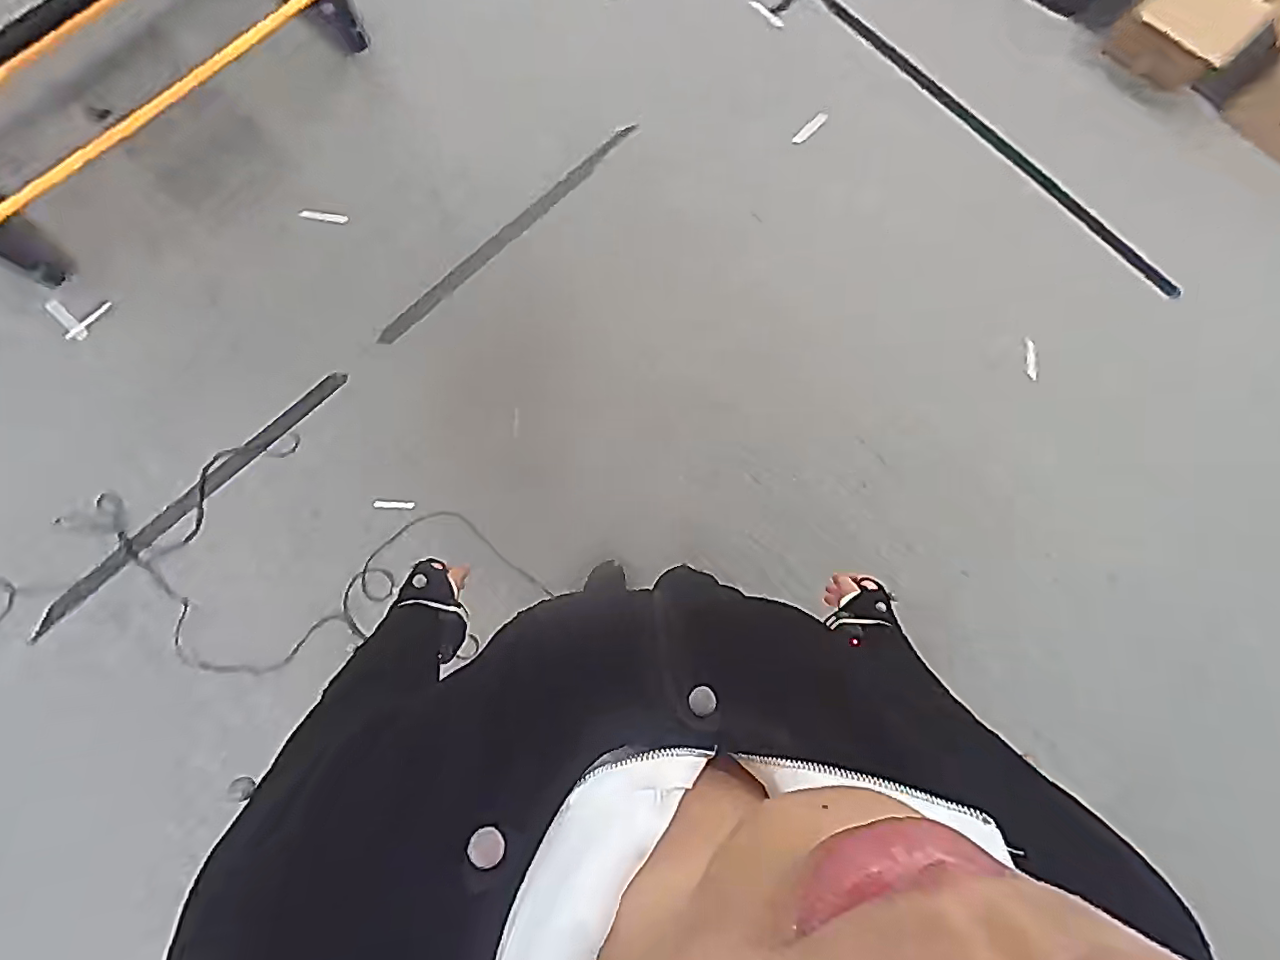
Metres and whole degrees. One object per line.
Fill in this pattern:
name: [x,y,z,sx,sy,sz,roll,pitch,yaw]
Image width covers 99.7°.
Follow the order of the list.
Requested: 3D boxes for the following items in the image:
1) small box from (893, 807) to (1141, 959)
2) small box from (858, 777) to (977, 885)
small box: [0.490,0.589,0.731,0.179,0.176,0.168,42,79,7]
small box: [0.502,0.632,0.888,0.179,0.176,0.168,43,79,7]
